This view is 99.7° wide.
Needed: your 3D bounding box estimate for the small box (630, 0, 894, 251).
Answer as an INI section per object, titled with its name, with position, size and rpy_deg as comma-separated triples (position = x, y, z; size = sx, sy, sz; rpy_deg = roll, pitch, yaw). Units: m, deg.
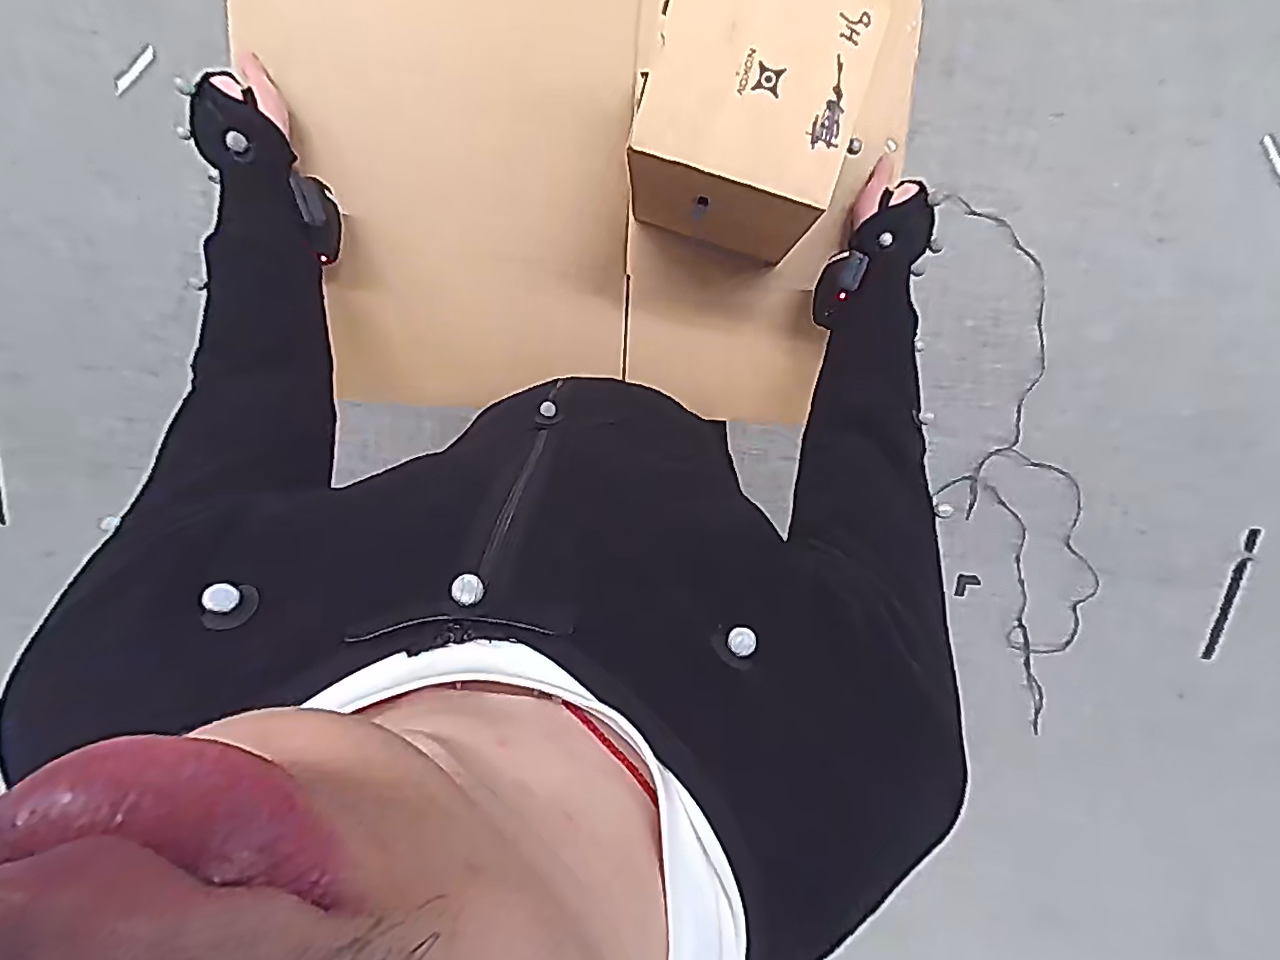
[small box]
position = 0.100, -0.342, 0.520
size = 0.179, 0.176, 0.168
rpy_deg = 17, 98, 0
